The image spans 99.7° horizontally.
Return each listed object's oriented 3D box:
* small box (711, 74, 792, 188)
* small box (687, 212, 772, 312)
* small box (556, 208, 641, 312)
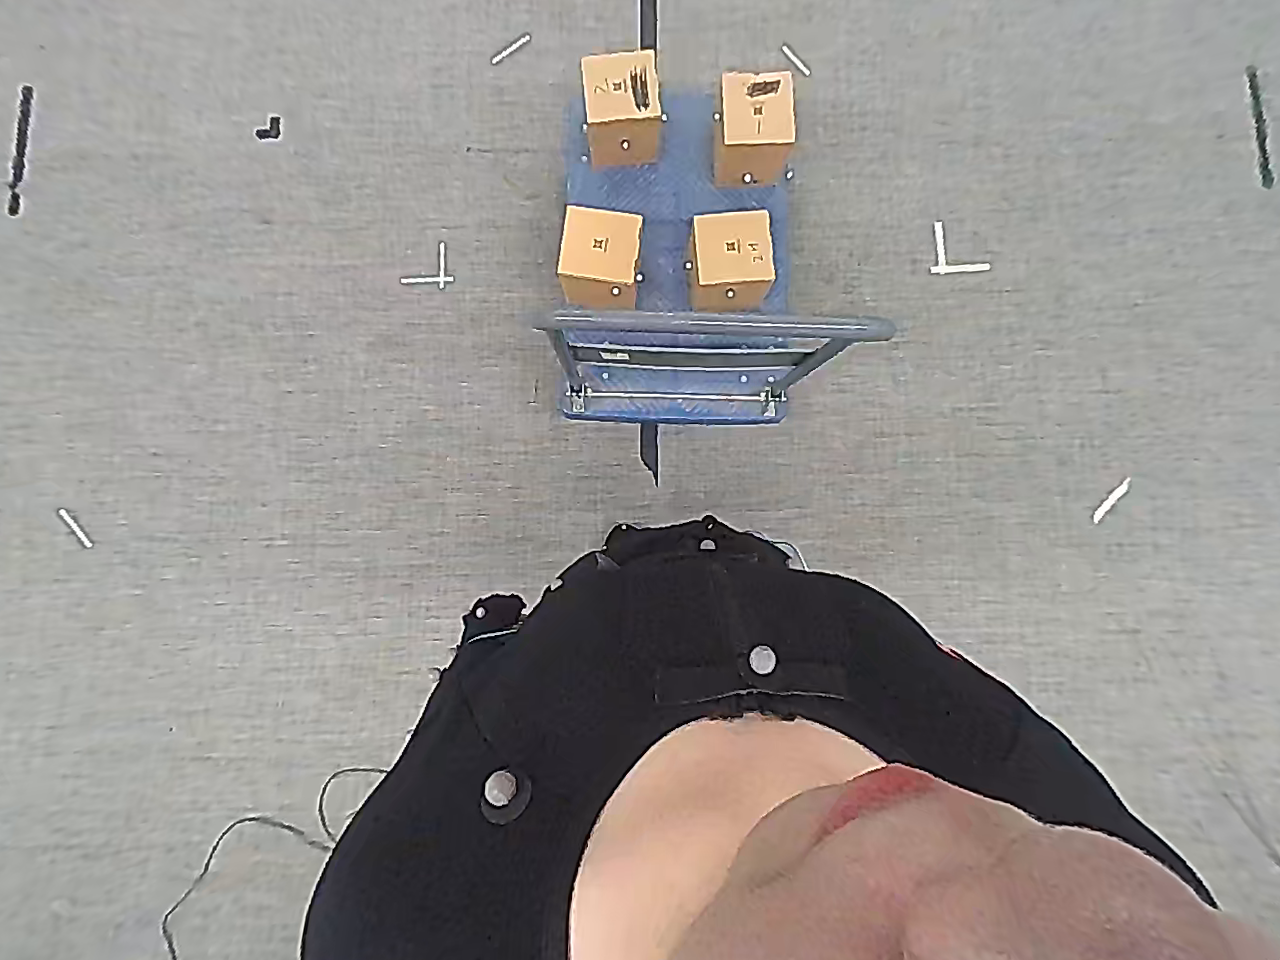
[{"bbox_3d":[0.267,-0.849,1.326,0.168,0.176,0.179,-2,87,0],"label":"small box"},{"bbox_3d":[0.208,-0.515,1.302,0.179,0.176,0.168,-4,86,0],"label":"small box"},{"bbox_3d":[-0.096,-0.520,1.301,0.179,0.176,0.168,7,85,-1],"label":"small box"}]
